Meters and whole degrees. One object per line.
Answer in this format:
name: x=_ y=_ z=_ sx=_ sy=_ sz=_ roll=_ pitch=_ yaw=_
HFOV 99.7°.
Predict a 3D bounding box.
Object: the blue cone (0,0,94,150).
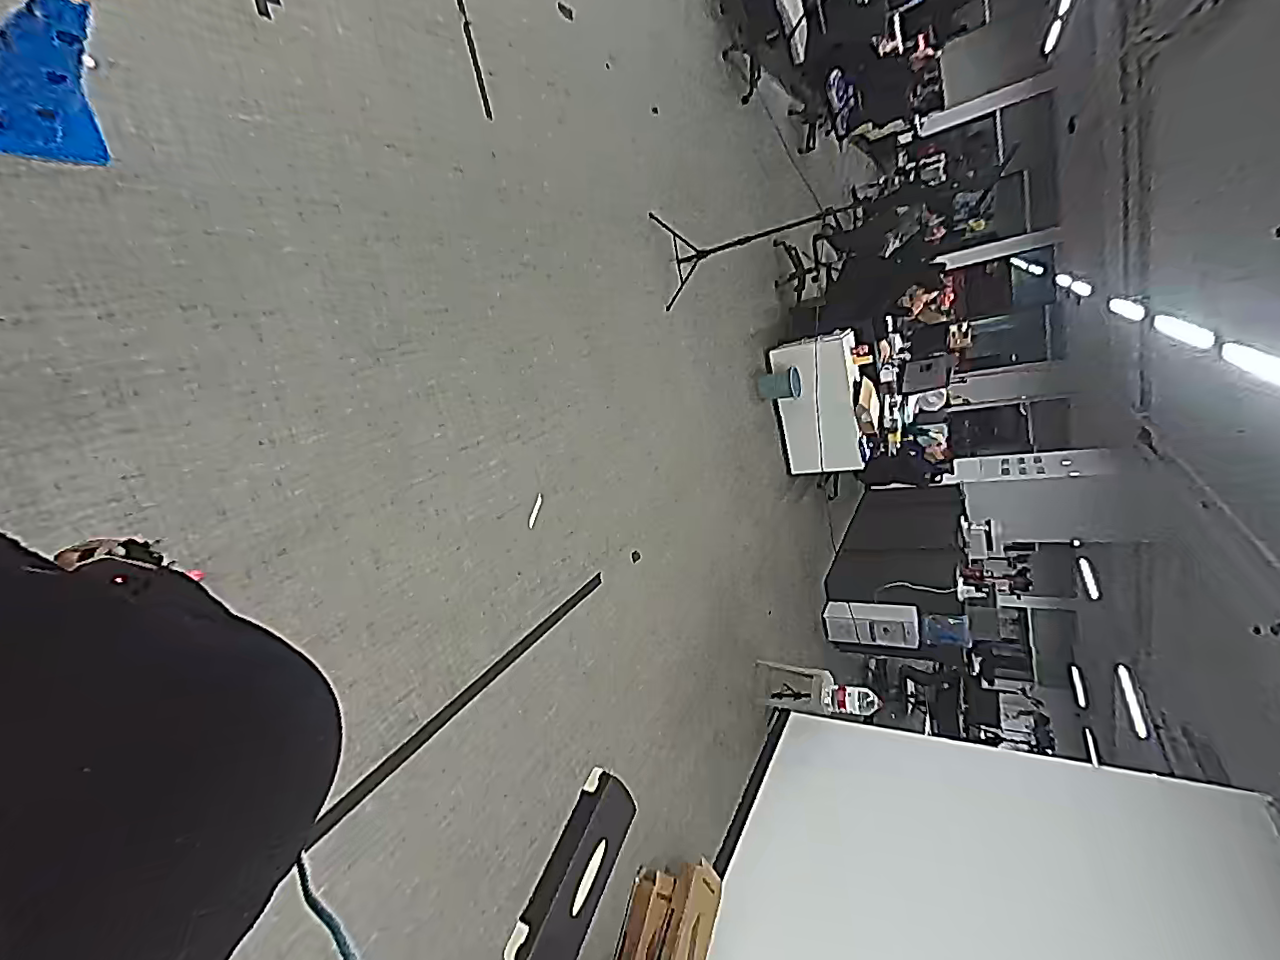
blue cone: x=-0.993 y=-0.716 z=0.881 sx=0.193 sy=0.380 sz=0.192 roll=-30 pitch=110 yaw=-55
